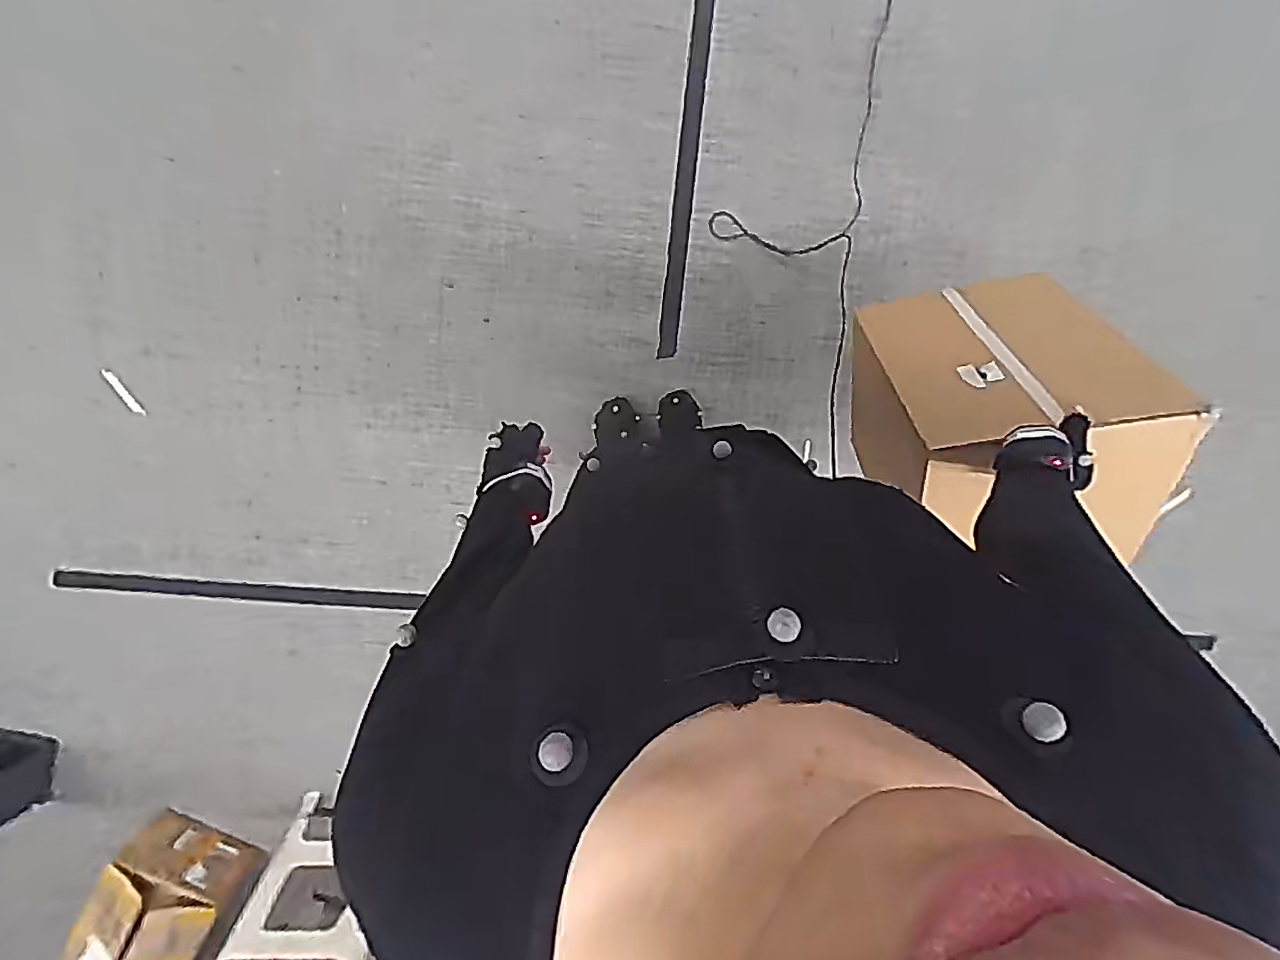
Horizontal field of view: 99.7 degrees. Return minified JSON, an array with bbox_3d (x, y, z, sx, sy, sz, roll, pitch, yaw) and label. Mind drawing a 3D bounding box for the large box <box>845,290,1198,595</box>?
[{"bbox_3d":[0.561,-0.068,0.918,0.320,0.408,0.320,-9,133,11],"label":"large box"}]
